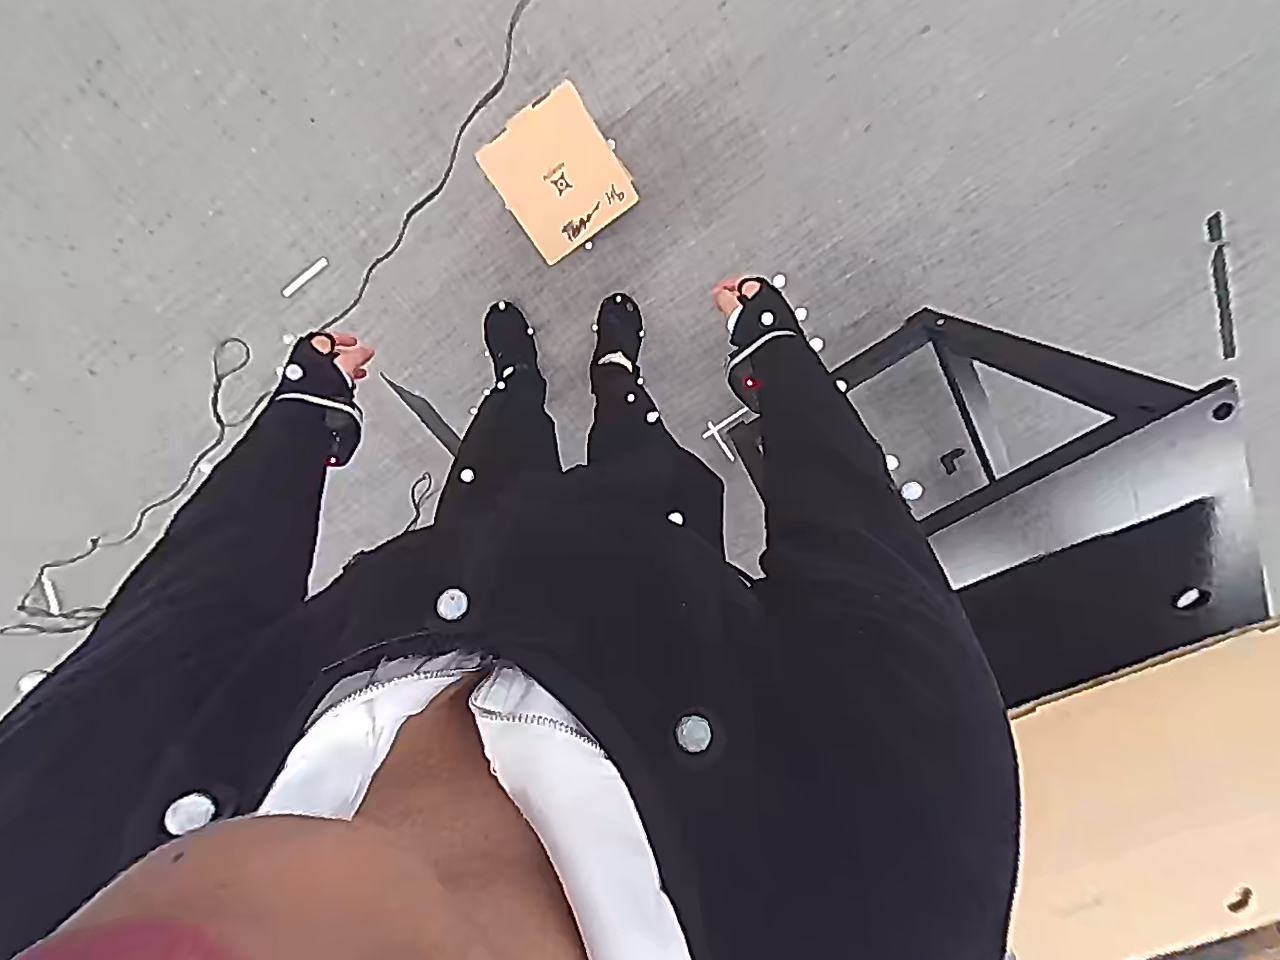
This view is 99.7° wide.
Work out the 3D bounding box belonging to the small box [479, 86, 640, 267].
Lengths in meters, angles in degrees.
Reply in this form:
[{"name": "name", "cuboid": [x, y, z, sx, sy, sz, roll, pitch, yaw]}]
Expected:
[{"name": "small box", "cuboid": [-0.117, -0.457, 0.842, 0.168, 0.176, 0.179, -31, 112, 11]}]
